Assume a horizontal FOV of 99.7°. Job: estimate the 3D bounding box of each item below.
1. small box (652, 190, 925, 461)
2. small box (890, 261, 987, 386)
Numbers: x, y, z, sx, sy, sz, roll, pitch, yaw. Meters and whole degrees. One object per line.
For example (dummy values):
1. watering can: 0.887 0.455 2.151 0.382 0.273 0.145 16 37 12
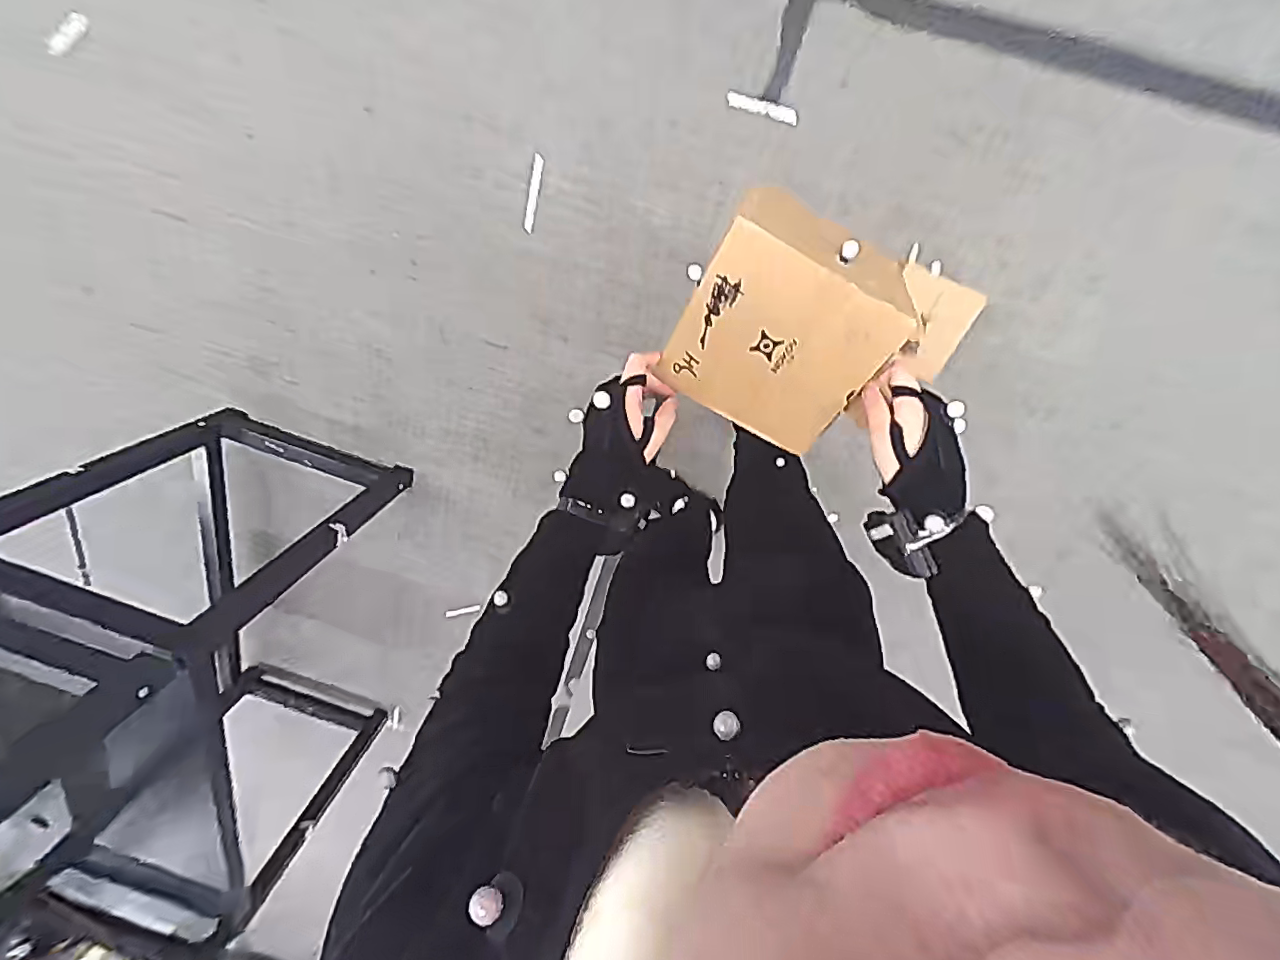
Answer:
1. small box: 0.138 -0.156 0.531 0.179 0.176 0.168 28 130 -5
2. small box: 0.537 -0.318 1.083 0.168 0.176 0.179 24 117 -2
